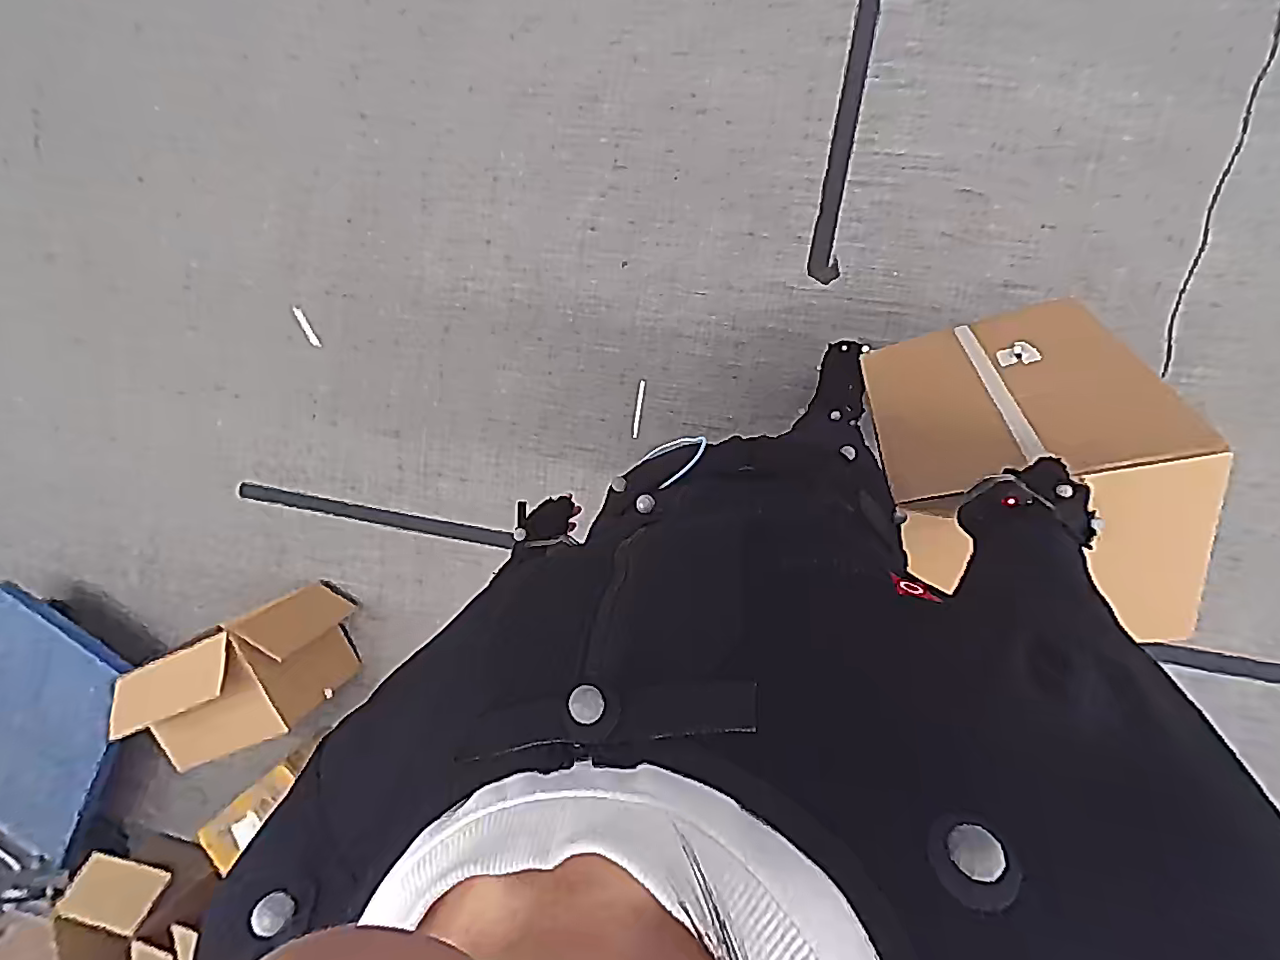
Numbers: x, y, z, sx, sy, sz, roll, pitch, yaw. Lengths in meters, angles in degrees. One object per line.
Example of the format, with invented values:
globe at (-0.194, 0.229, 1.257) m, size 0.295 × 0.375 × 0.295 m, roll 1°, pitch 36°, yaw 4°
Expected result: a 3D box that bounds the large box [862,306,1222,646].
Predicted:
large box at (0.555, -0.009, 0.834) m, size 0.320 × 0.408 × 0.320 m, roll -11°, pitch 125°, yaw 22°
